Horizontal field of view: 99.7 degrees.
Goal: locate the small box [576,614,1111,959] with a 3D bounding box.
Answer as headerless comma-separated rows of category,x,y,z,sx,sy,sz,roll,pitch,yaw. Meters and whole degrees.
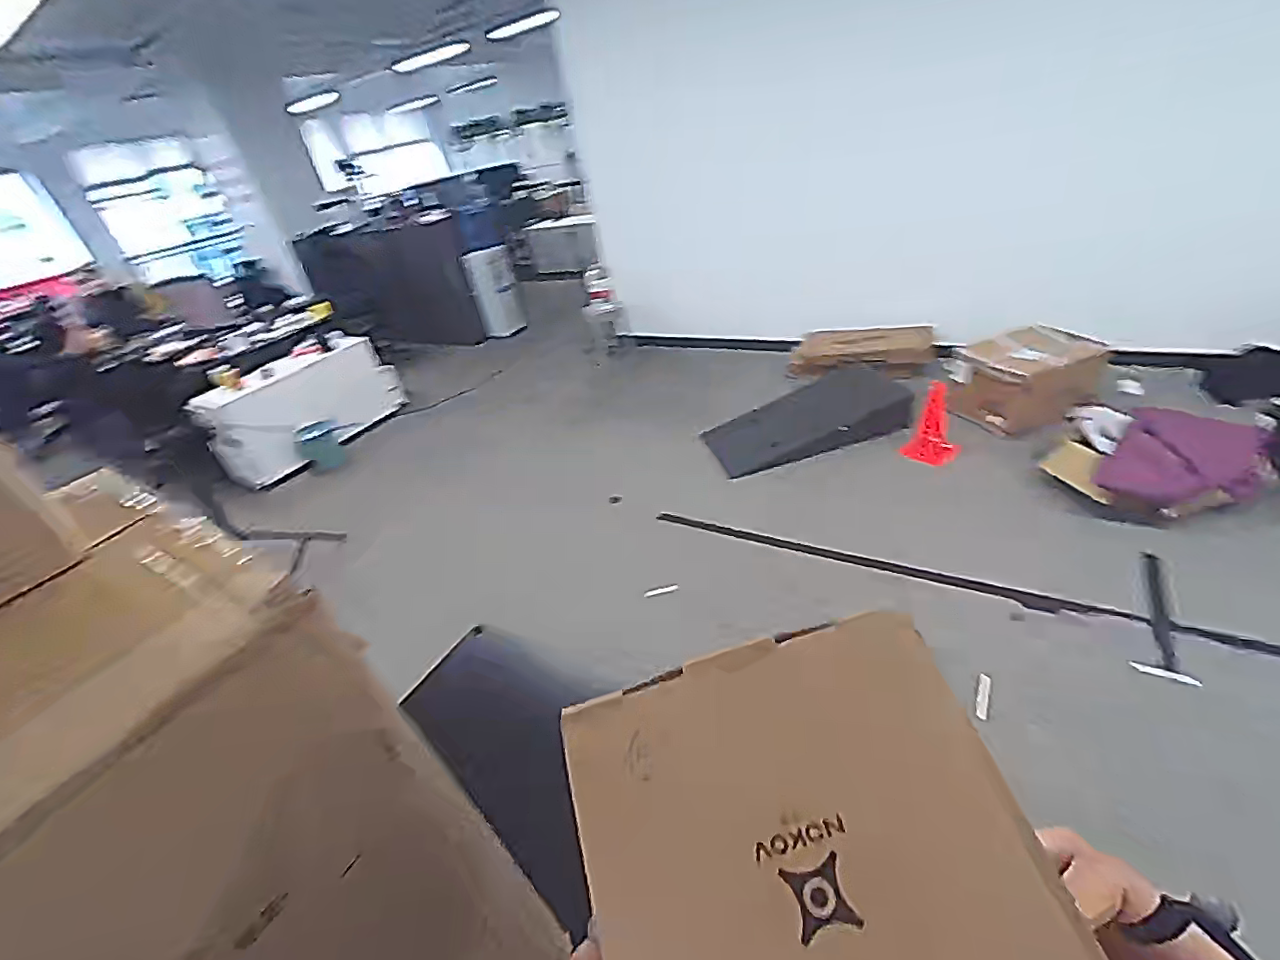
small box,0.080,0.193,0.266,0.168,0.176,0.179,-18,58,0
